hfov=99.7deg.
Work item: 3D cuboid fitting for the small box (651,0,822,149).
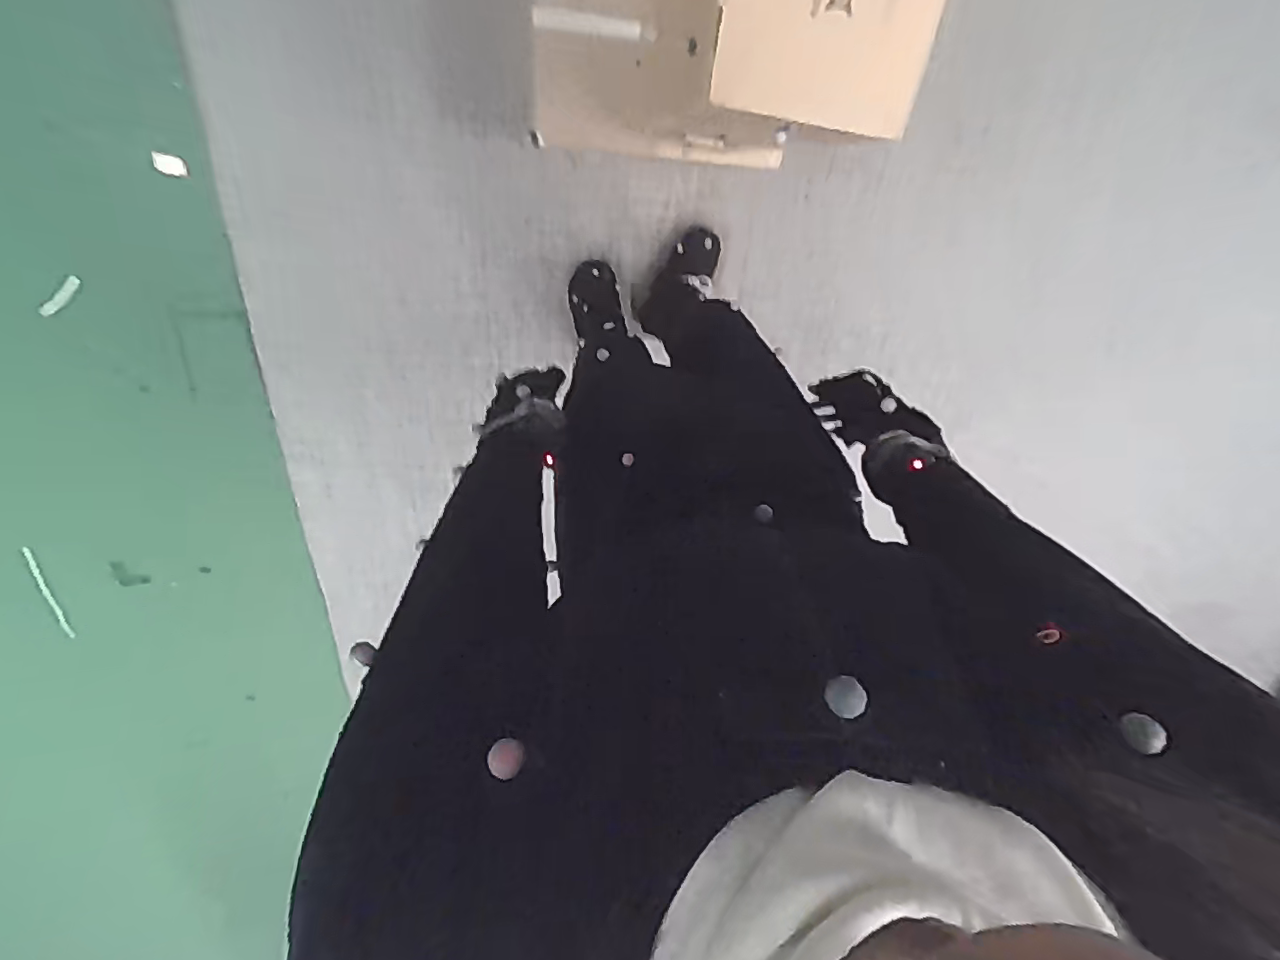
[{"bbox_3d":[0.118,-0.482,0.611,0.179,0.176,0.168,4,119,-8],"label":"small box"}]

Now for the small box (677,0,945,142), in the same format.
[{"bbox_3d":[0.138,-0.403,0.471,0.179,0.176,0.168,2,120,-10],"label":"small box"}]

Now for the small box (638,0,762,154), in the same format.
[{"bbox_3d":[0.093,-0.566,0.751,0.168,0.176,0.179,4,120,-9],"label":"small box"}]
